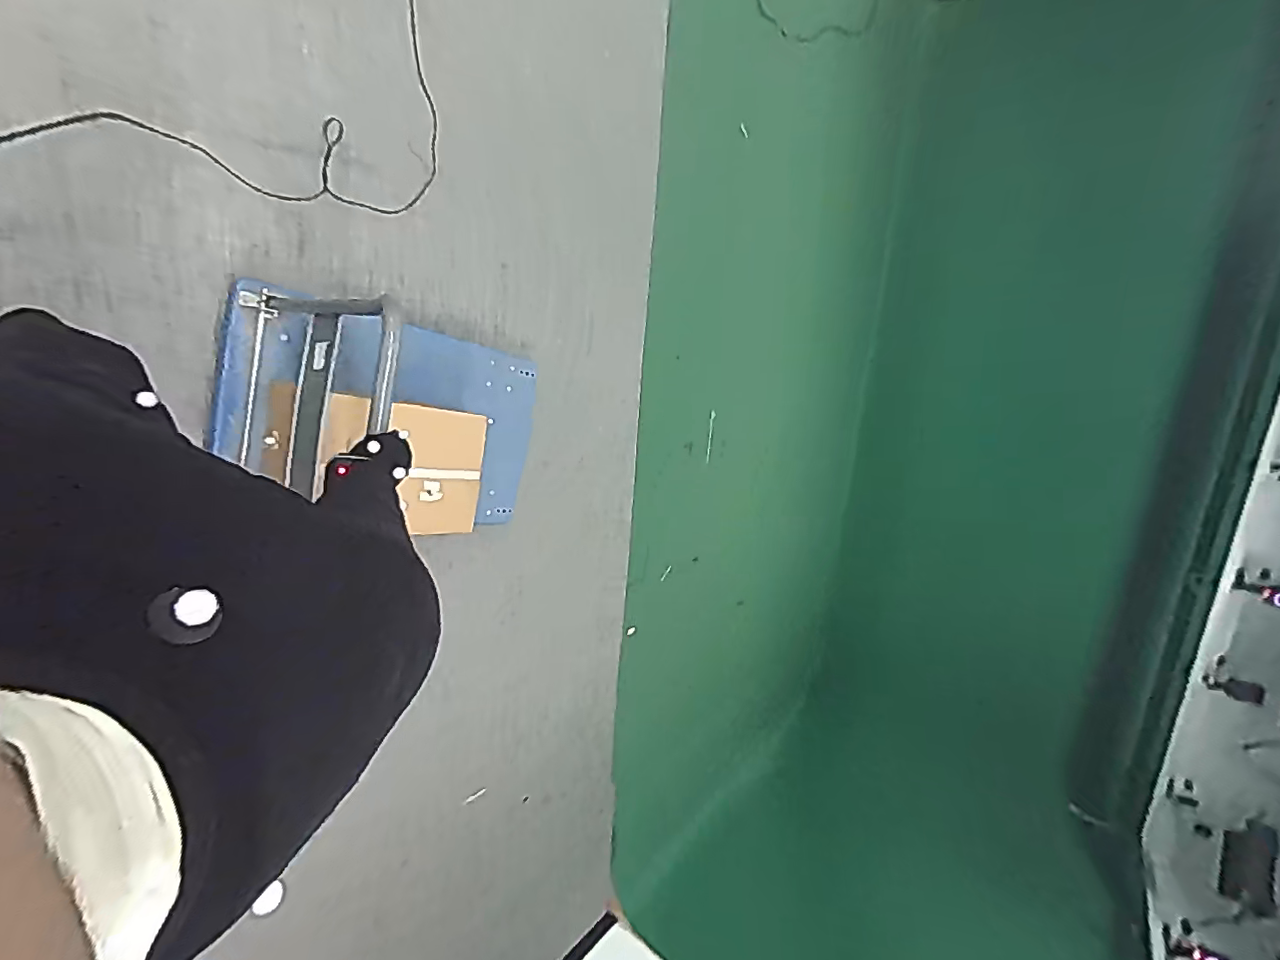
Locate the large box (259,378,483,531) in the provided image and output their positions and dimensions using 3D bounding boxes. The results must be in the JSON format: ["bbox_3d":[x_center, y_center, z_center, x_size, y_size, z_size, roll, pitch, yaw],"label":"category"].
[{"bbox_3d":[-0.669,-0.068,1.357,0.408,0.320,0.320,2,100,-52],"label":"large box"}]
